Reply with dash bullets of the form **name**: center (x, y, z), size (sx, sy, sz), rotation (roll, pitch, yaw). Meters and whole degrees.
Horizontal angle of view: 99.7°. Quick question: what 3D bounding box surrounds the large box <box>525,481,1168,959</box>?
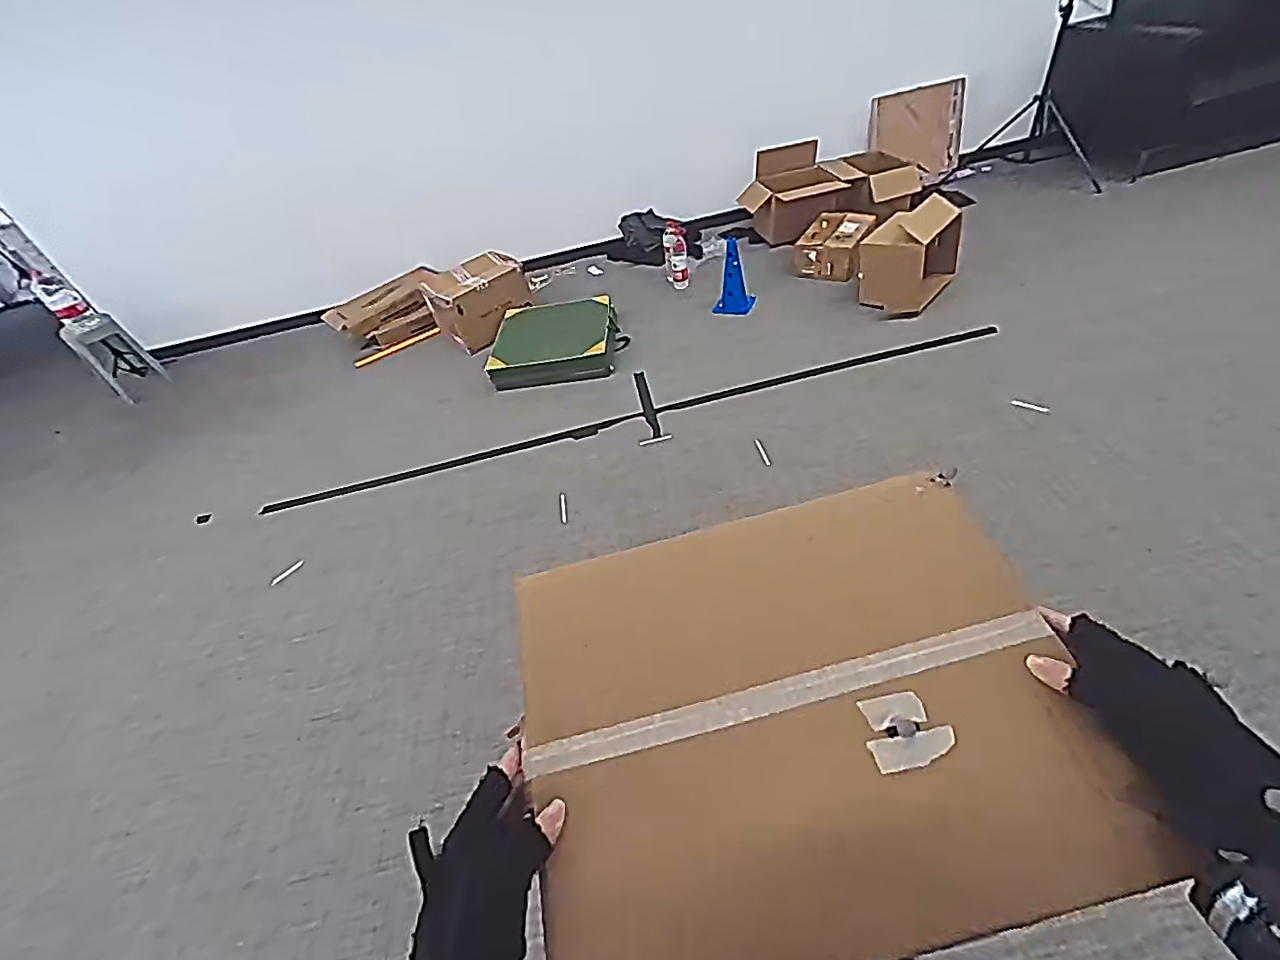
- **large box**: center (0.134, 0.256, 0.545), size (0.408, 0.320, 0.320), rotation (-15, 54, -1)
